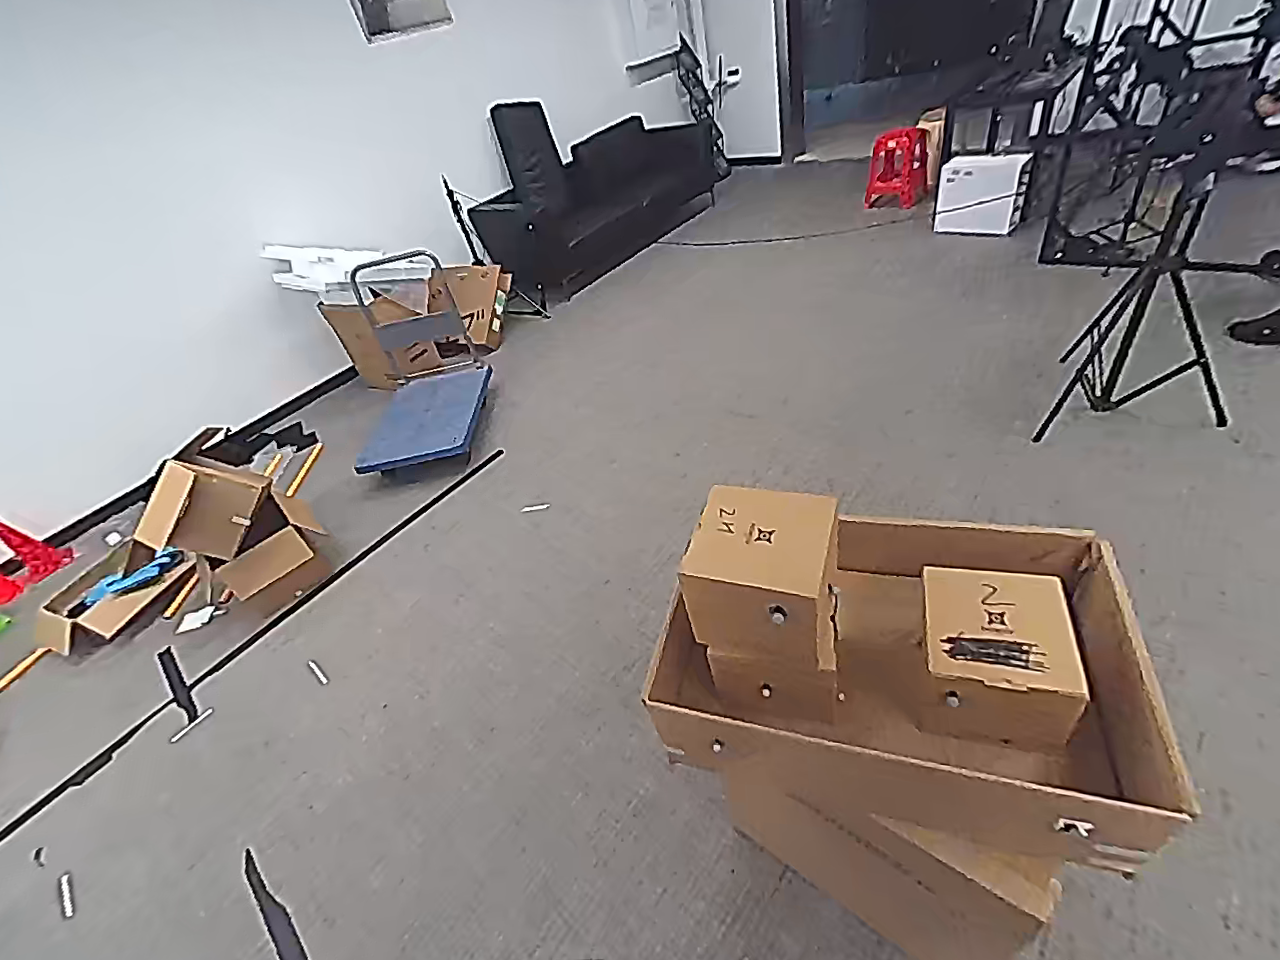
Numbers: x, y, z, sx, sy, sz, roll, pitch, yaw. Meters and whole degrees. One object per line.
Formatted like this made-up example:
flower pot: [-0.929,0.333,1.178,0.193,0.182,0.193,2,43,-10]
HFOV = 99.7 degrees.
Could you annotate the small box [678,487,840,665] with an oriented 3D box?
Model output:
small box: [0.174,0.133,0.751,0.179,0.176,0.168,6,45,26]
